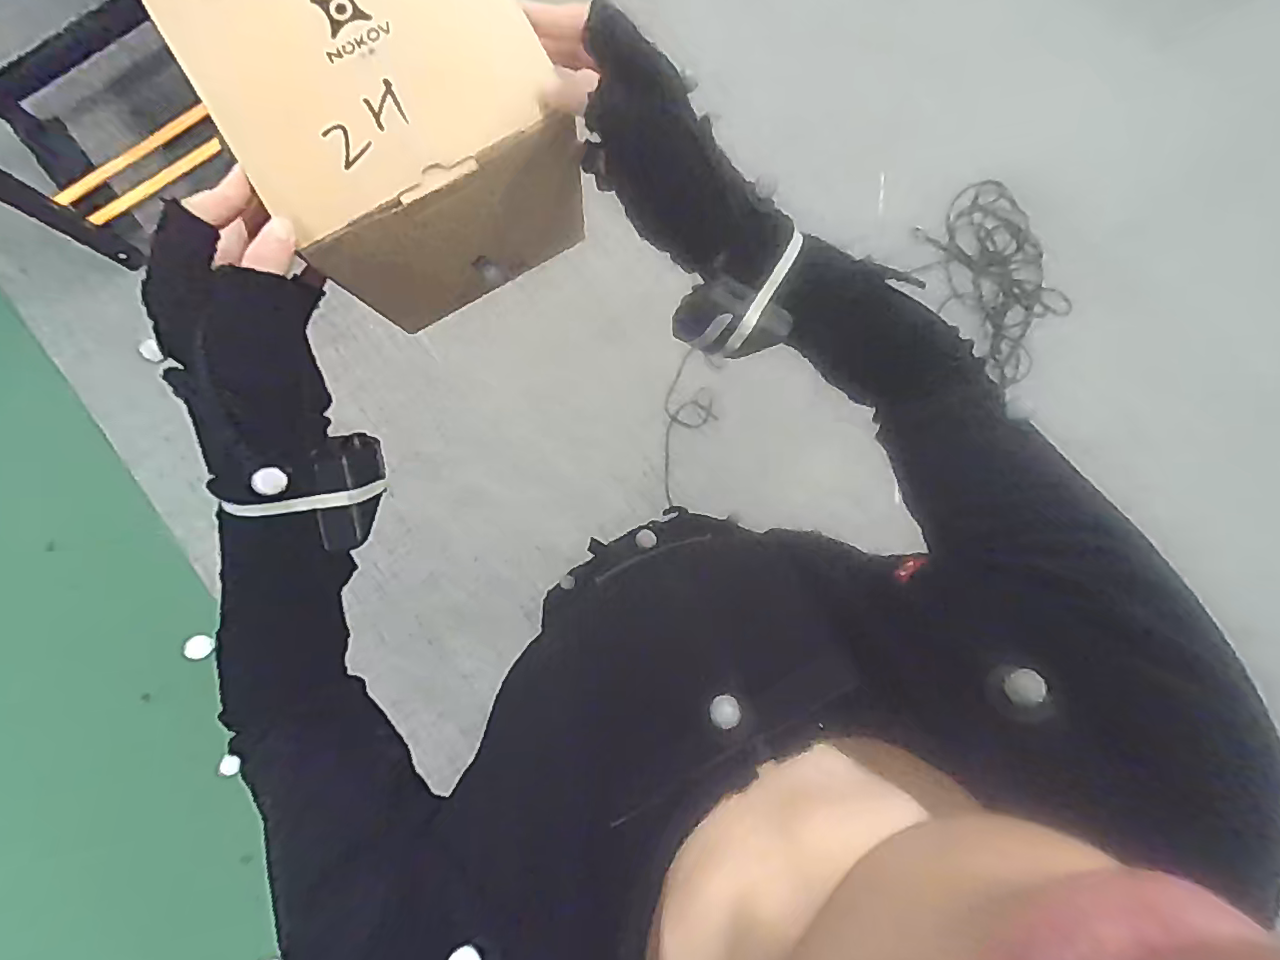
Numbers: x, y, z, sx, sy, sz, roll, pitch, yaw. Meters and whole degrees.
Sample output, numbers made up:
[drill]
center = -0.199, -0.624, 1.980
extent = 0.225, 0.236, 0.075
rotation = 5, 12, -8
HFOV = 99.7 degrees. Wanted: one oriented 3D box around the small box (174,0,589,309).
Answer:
[small box]
center = -0.145, -0.243, 0.348
extent = 0.168, 0.176, 0.179
rotation = -30, 92, -2
